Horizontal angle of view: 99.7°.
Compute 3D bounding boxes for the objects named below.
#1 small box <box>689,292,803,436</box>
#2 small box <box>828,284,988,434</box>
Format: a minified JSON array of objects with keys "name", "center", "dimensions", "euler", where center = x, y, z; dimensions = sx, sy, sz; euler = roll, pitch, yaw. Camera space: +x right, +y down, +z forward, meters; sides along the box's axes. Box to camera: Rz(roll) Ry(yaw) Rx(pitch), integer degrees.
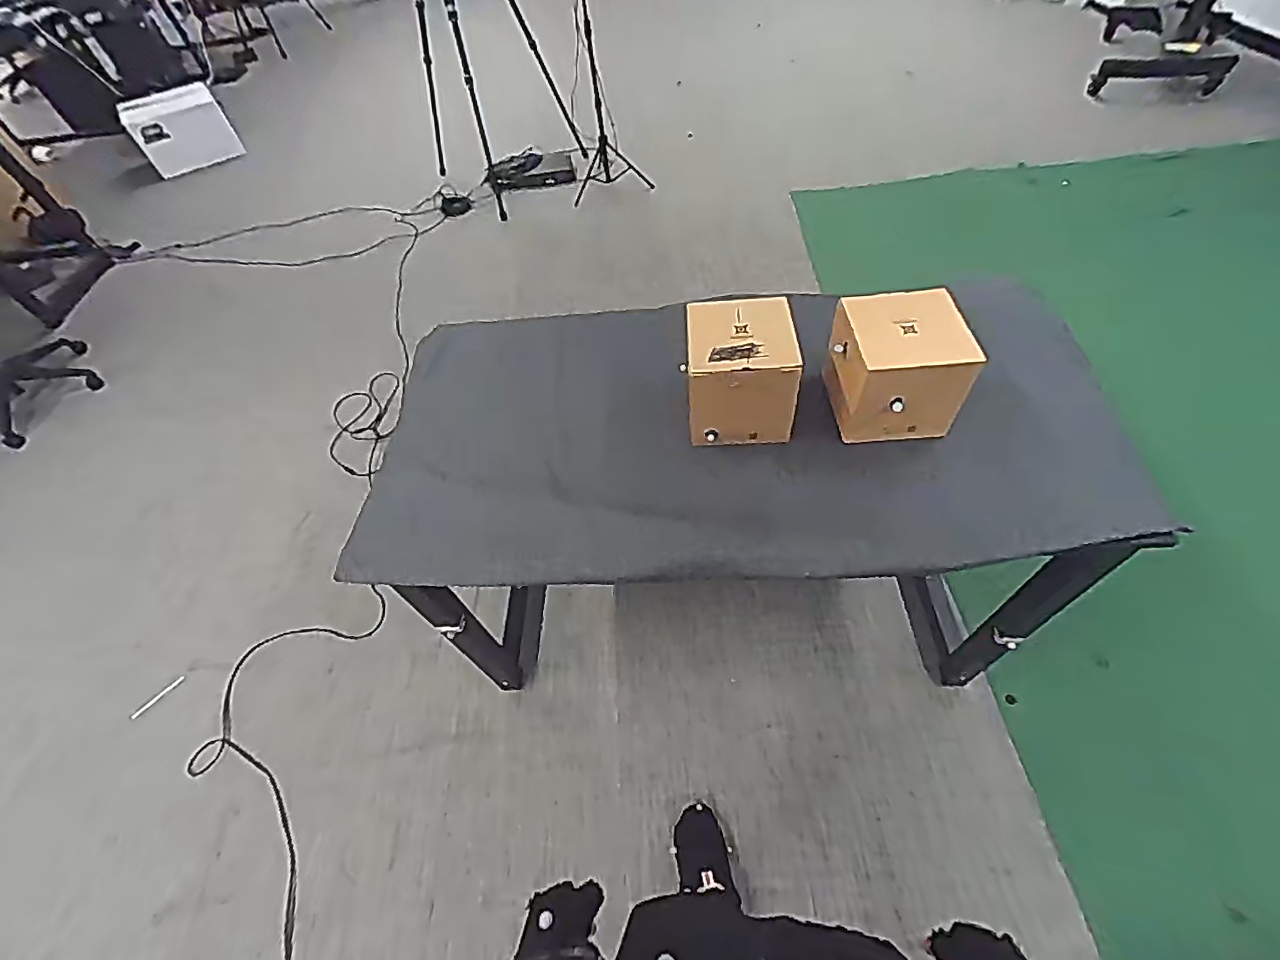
[{"name":"small box","center":[0.168,-0.185,0.899],"dimensions":[0.168,0.176,0.179],"euler":[-2,53,6]},{"name":"small box","center":[0.414,-0.186,0.871],"dimensions":[0.168,0.176,0.179],"euler":[-4,53,5]}]
